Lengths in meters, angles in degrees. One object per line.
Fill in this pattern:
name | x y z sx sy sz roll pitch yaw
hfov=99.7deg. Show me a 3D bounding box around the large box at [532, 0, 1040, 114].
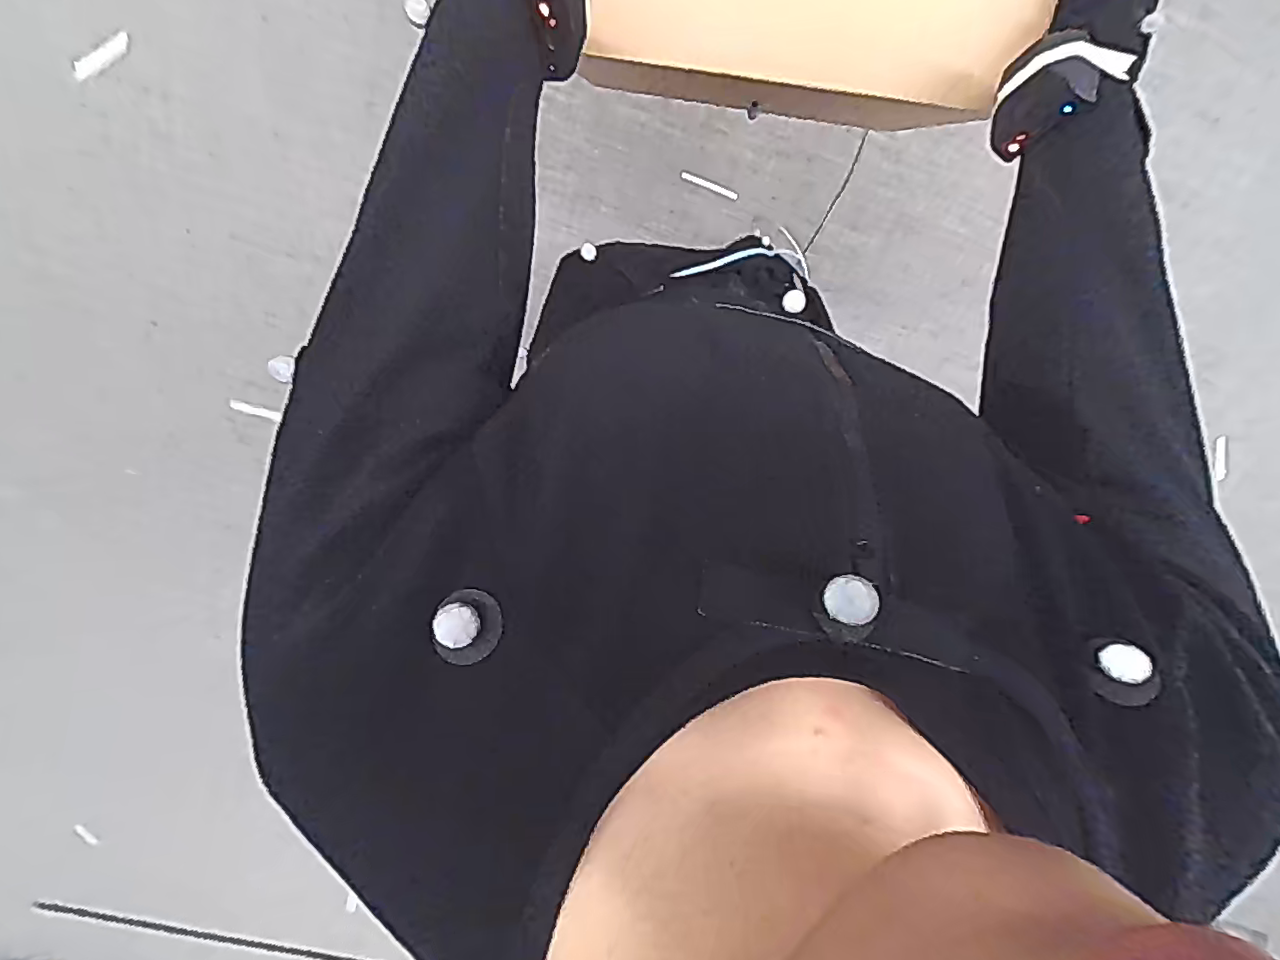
large box | 0.136 -0.549 0.498 0.408 0.320 0.320 9 121 0
